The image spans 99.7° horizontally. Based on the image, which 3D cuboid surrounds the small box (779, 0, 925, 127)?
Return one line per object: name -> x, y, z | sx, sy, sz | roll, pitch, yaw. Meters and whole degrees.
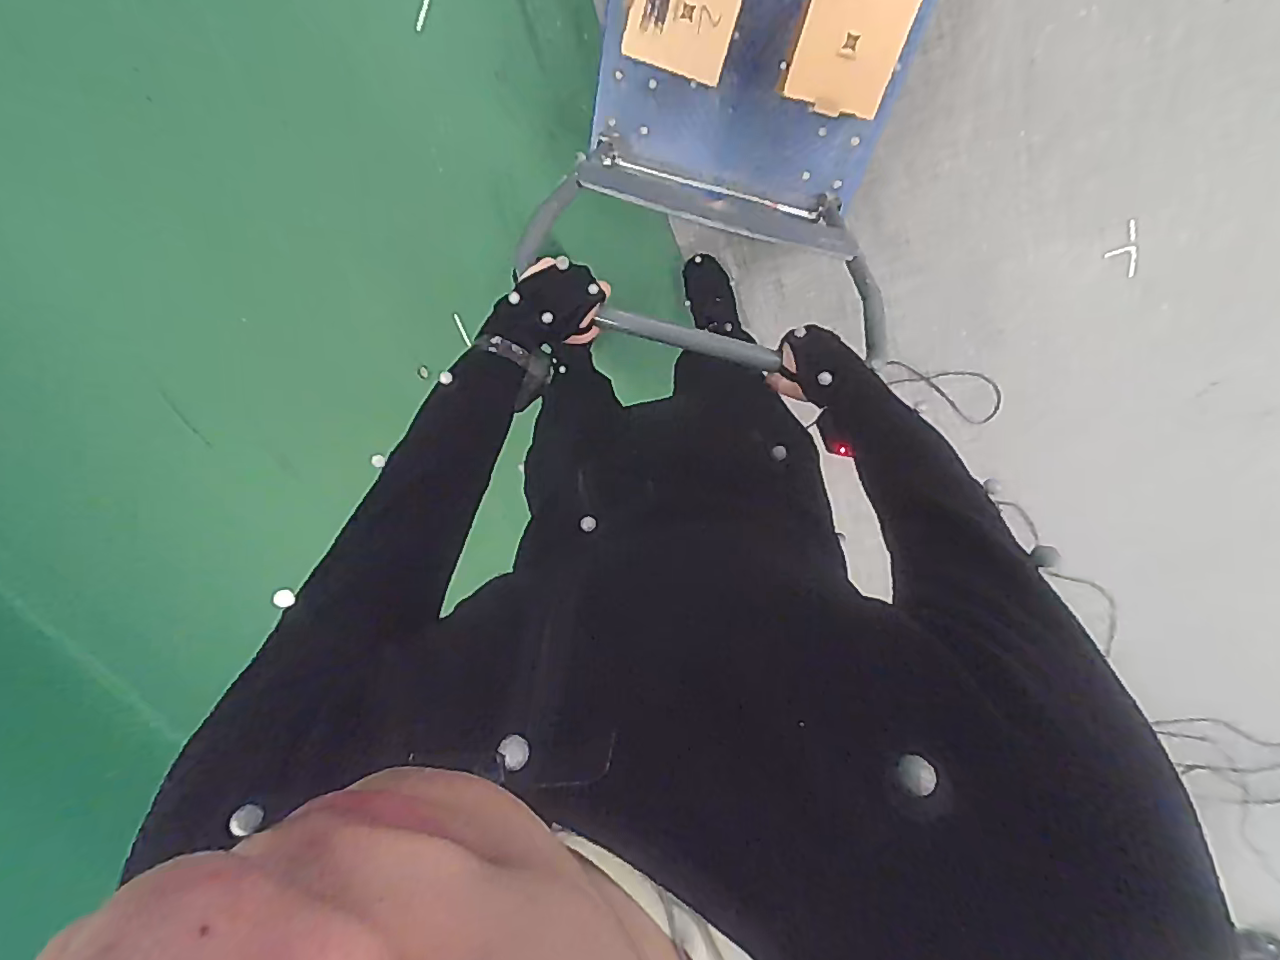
small box -> 0.351, -0.745, 0.939 | 0.168, 0.176, 0.179 | 15, 129, -3
